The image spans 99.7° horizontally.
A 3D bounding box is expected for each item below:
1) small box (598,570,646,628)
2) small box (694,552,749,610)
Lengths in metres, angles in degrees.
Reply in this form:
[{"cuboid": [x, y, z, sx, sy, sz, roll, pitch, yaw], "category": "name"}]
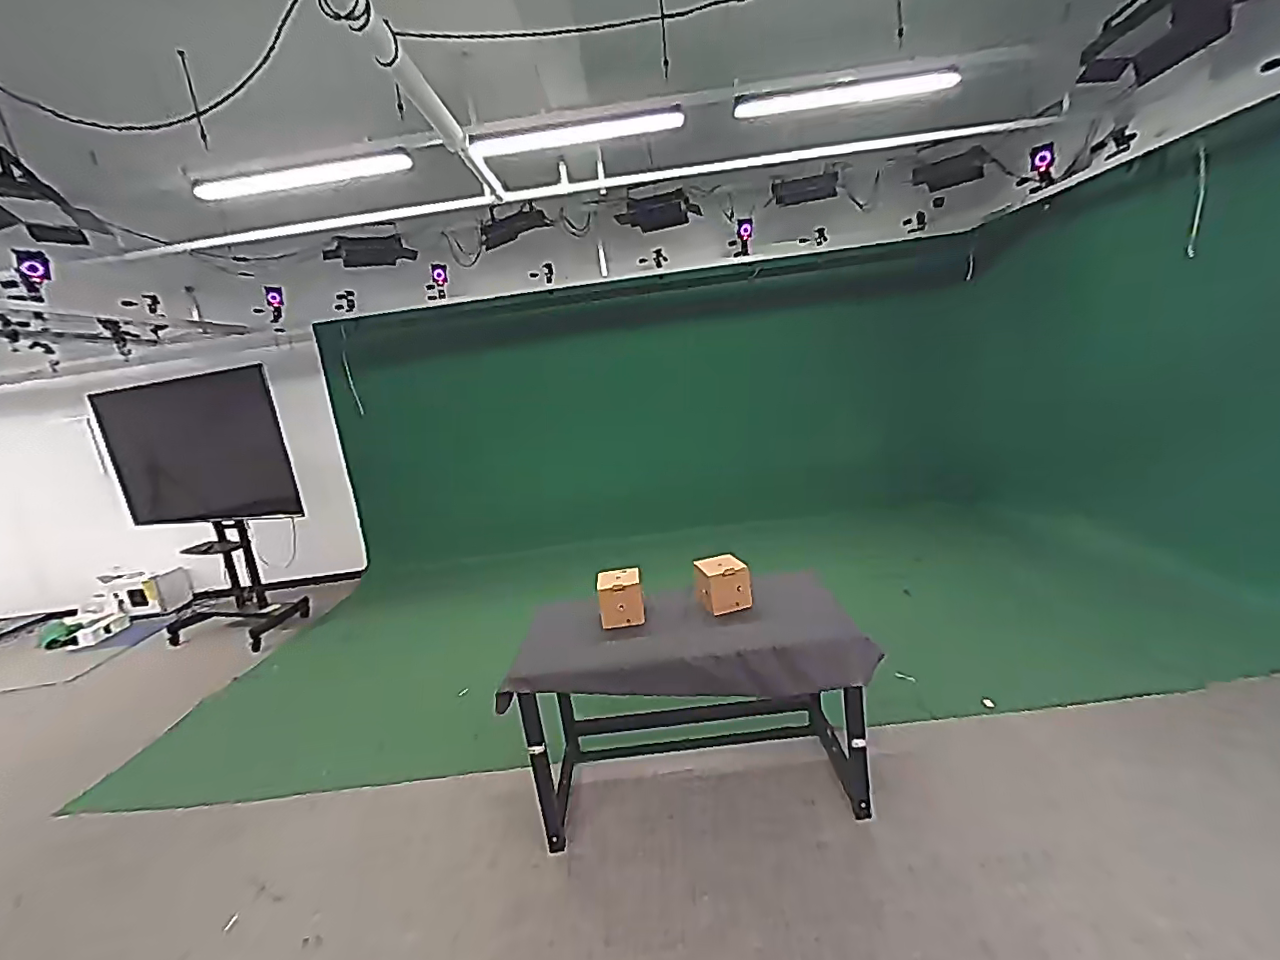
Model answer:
[{"cuboid": [-0.074, 0.477, 2.148, 0.168, 0.176, 0.179, -10, 11, -3], "category": "small box"}, {"cuboid": [0.324, 0.403, 2.143, 0.168, 0.176, 0.179, -8, 11, -12], "category": "small box"}]
